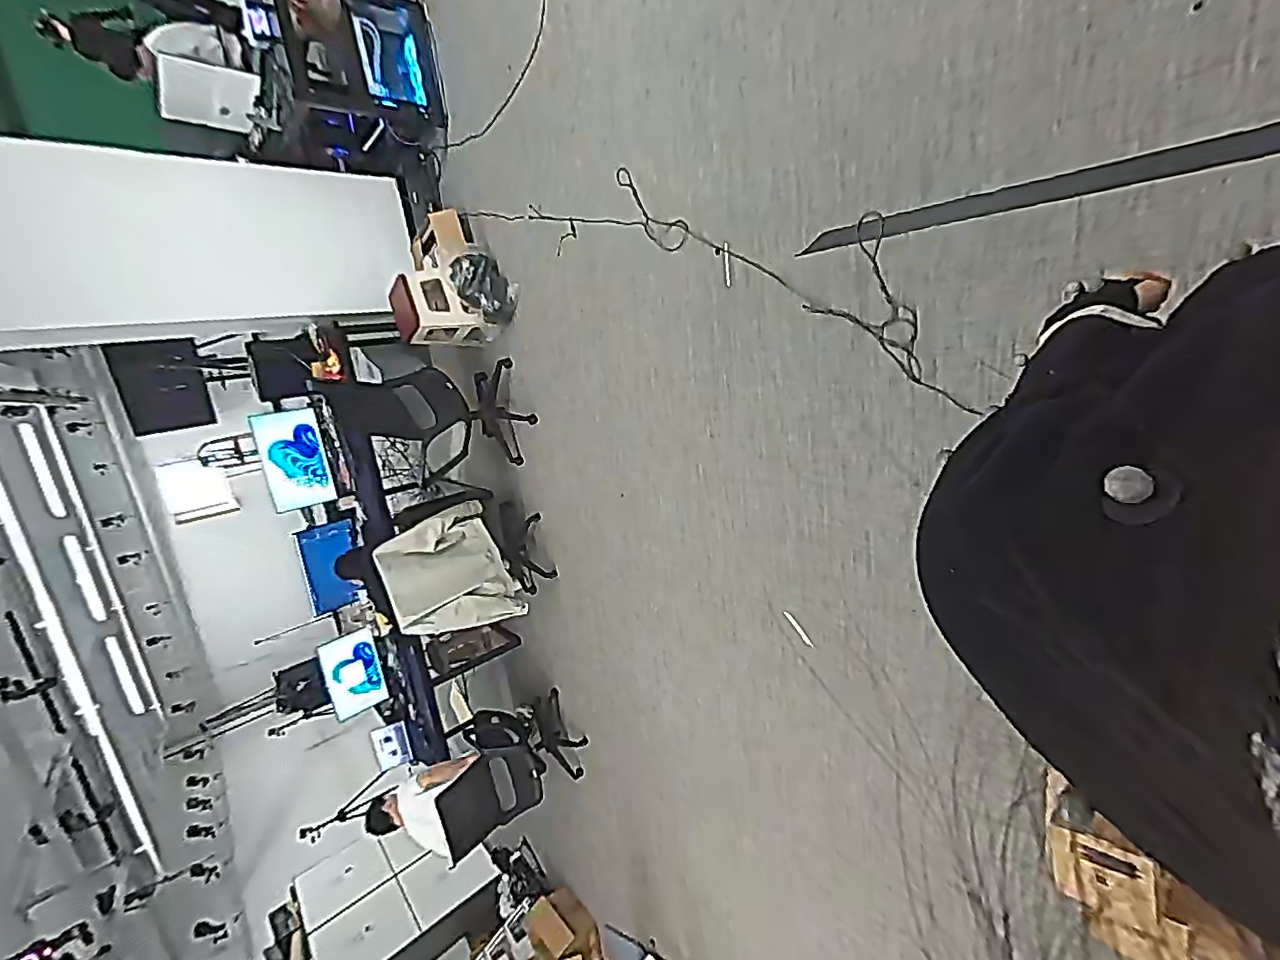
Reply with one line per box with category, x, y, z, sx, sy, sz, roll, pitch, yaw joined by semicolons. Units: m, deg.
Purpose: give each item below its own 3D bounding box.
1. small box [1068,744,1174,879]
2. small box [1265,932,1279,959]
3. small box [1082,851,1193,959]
small box;1.123;0.760;1.263;0.168;0.176;0.179;1;106;50
small box;1.229;0.954;0.949;0.179;0.176;0.168;13;115;46
small box;1.188;1.012;1.291;0.179;0.176;0.168;1;106;50
